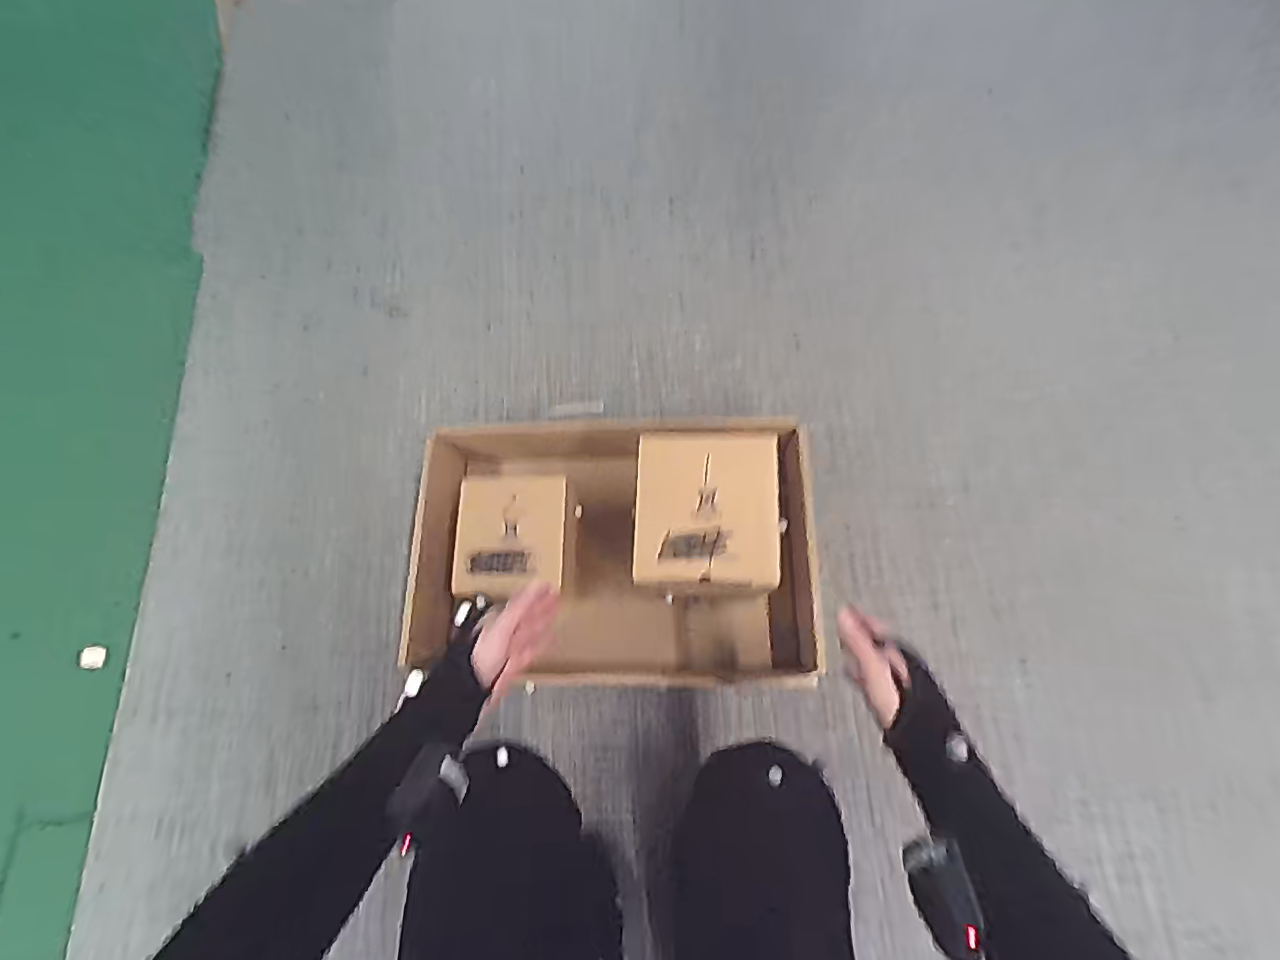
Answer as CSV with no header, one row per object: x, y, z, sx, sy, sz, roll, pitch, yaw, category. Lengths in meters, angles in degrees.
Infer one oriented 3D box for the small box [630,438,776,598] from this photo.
0.084,0.057,0.699,0.168,0.176,0.179,1,72,7,small box

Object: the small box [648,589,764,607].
0.100,0.104,0.855,0.168,0.176,0.179,-1,73,6,small box
